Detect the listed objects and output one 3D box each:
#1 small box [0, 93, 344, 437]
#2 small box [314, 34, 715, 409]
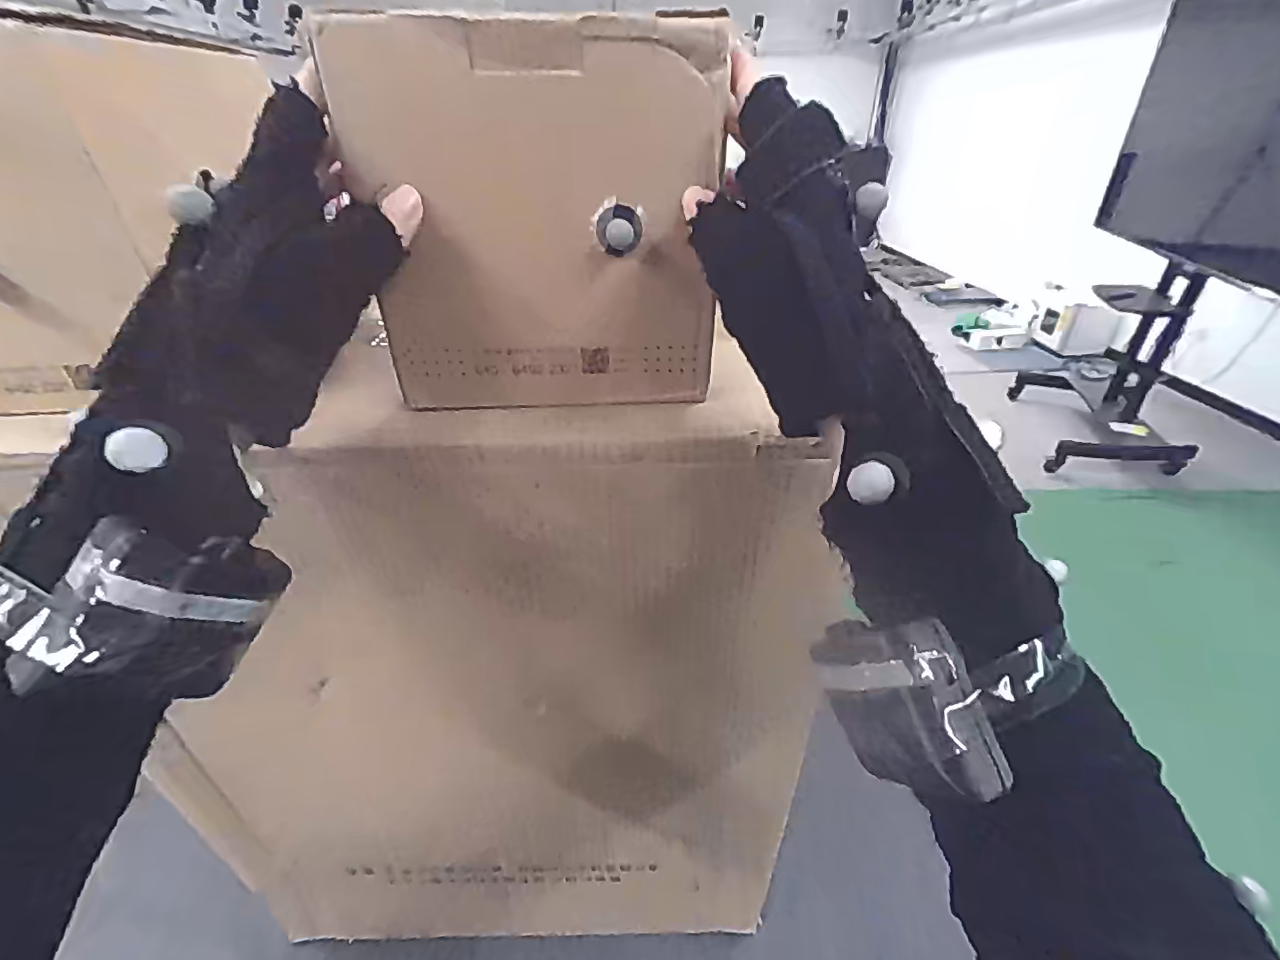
[{"bbox_3d":[-0.320,-0.136,0.343,0.168,0.176,0.179,-4,34,-3],"label":"small box"},{"bbox_3d":[-0.052,-0.151,0.328,0.168,0.176,0.179,0,33,-2],"label":"small box"}]
